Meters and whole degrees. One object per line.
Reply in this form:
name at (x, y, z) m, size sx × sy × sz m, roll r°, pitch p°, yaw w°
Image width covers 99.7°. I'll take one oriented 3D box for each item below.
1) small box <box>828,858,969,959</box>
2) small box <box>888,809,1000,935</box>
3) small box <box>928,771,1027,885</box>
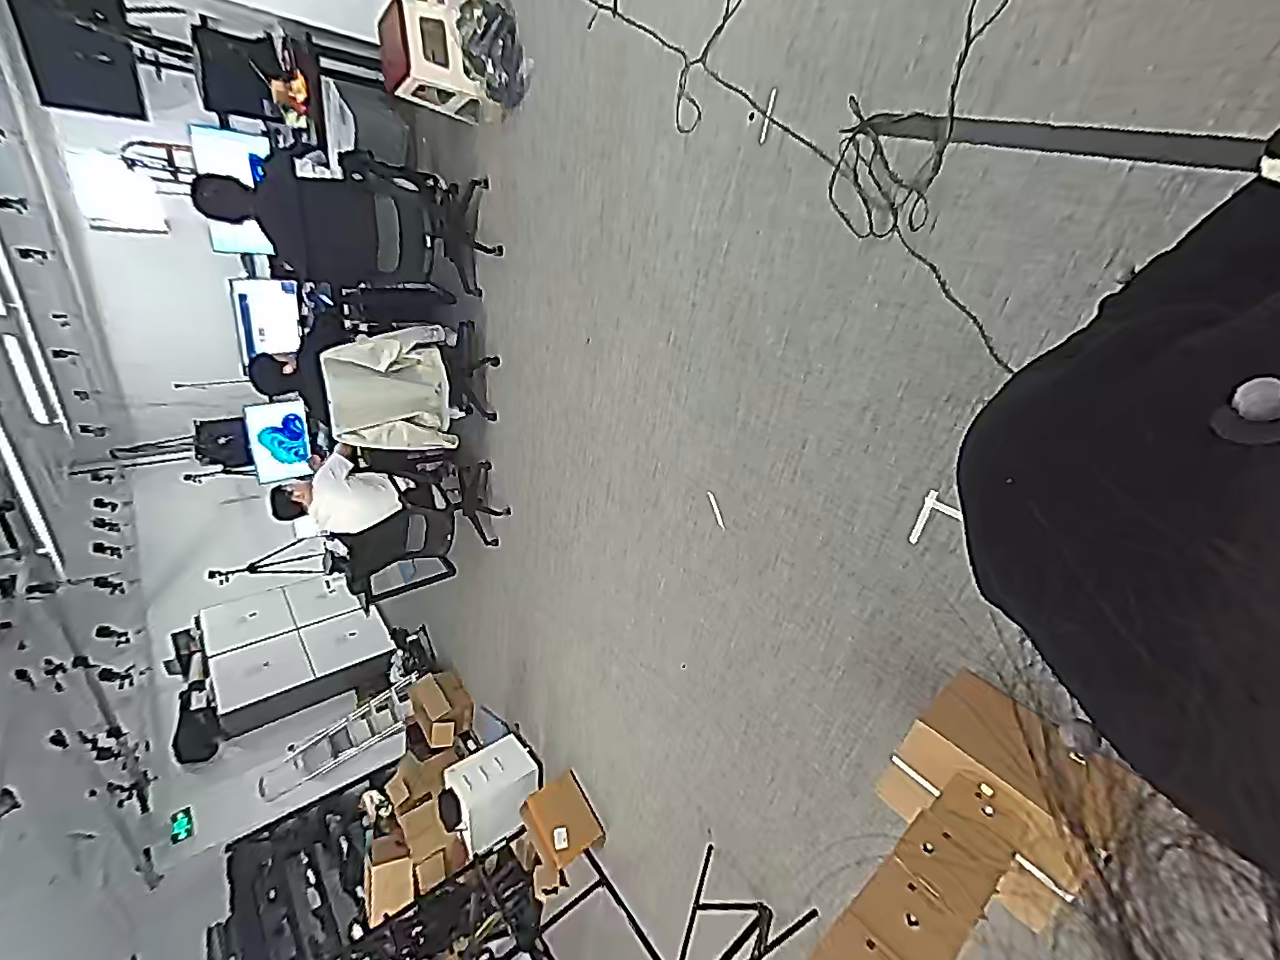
small box at (0.489, 0.875, 1.021) m, size 0.168 × 0.176 × 0.179 m, roll 29°, pitch 122°, yaw 44°
small box at (0.612, 0.838, 1.125) m, size 0.168 × 0.176 × 0.179 m, roll 33°, pitch 126°, yaw 42°
small box at (0.737, 0.812, 1.225) m, size 0.168 × 0.176 × 0.179 m, roll 33°, pitch 125°, yaw 40°
